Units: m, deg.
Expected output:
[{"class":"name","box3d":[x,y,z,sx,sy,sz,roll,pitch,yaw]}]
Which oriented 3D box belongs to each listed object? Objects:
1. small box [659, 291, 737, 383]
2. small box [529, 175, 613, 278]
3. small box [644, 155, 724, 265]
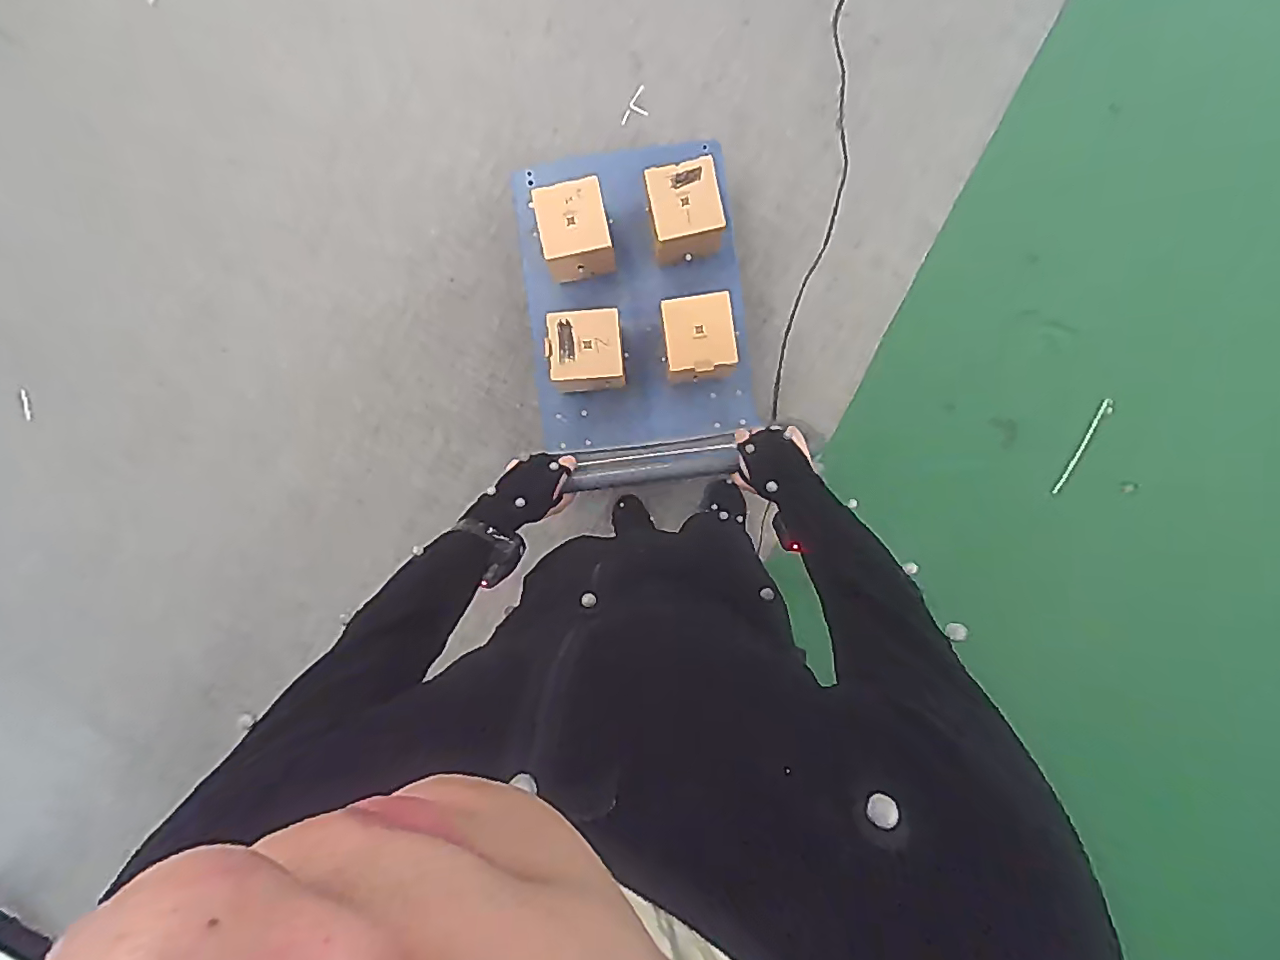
[{"class":"small box","box3d":[0.140,-0.354,1.363,0.168,0.176,0.179,-8,91,1]},{"class":"small box","box3d":[-0.167,-0.627,1.365,0.168,0.176,0.179,-11,91,1]},{"class":"small box","box3d":[0.105,-0.670,1.357,0.168,0.176,0.179,-12,91,2]}]
